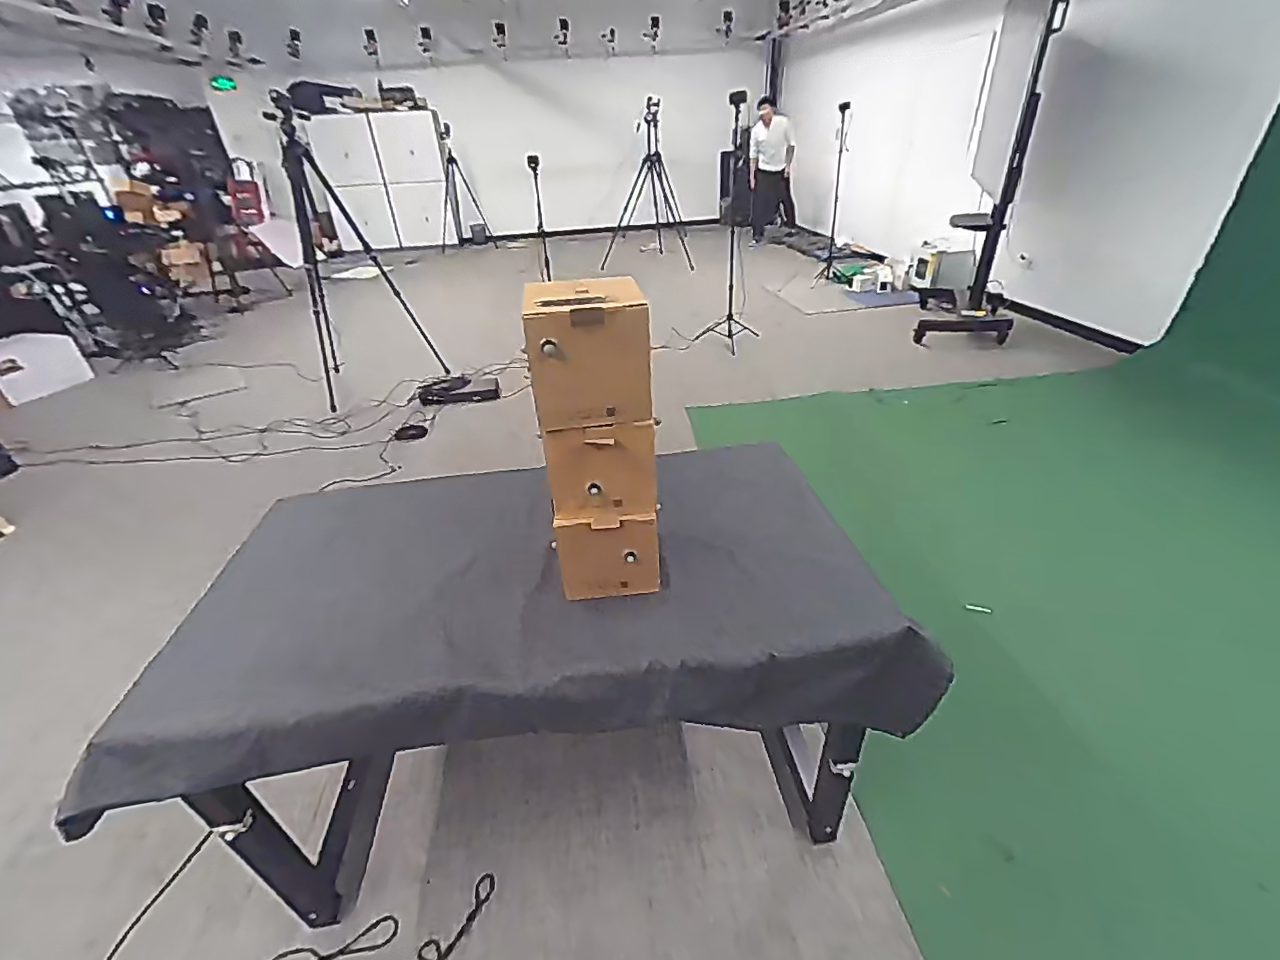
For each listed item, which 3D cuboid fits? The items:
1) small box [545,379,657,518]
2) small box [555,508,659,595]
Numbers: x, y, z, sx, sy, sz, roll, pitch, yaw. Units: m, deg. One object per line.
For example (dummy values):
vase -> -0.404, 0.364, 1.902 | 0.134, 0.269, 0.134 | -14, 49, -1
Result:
small box -> -0.060, -0.055, 0.894 | 0.168, 0.176, 0.179 | -3, 33, -2
small box -> -0.056, 0.091, 0.967 | 0.168, 0.176, 0.179 | -4, 31, -3
